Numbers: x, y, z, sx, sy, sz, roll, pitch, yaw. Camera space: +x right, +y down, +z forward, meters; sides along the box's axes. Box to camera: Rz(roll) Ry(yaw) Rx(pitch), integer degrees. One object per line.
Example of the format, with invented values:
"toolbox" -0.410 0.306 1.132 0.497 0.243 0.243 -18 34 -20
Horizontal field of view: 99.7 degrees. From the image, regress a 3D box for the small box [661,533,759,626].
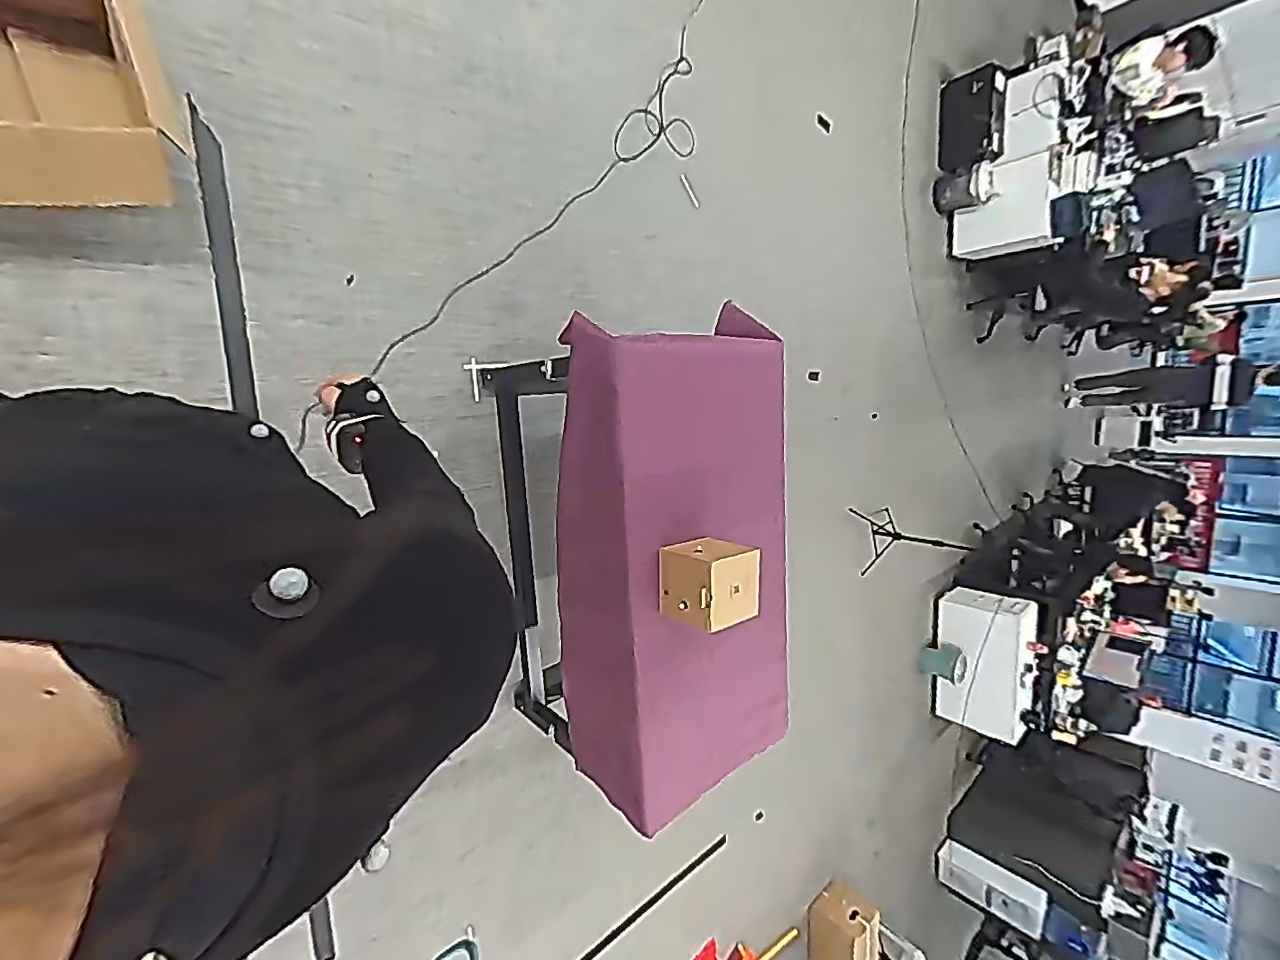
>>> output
"small box" 0.164 0.231 1.297 0.179 0.176 0.168 -7 100 -41
